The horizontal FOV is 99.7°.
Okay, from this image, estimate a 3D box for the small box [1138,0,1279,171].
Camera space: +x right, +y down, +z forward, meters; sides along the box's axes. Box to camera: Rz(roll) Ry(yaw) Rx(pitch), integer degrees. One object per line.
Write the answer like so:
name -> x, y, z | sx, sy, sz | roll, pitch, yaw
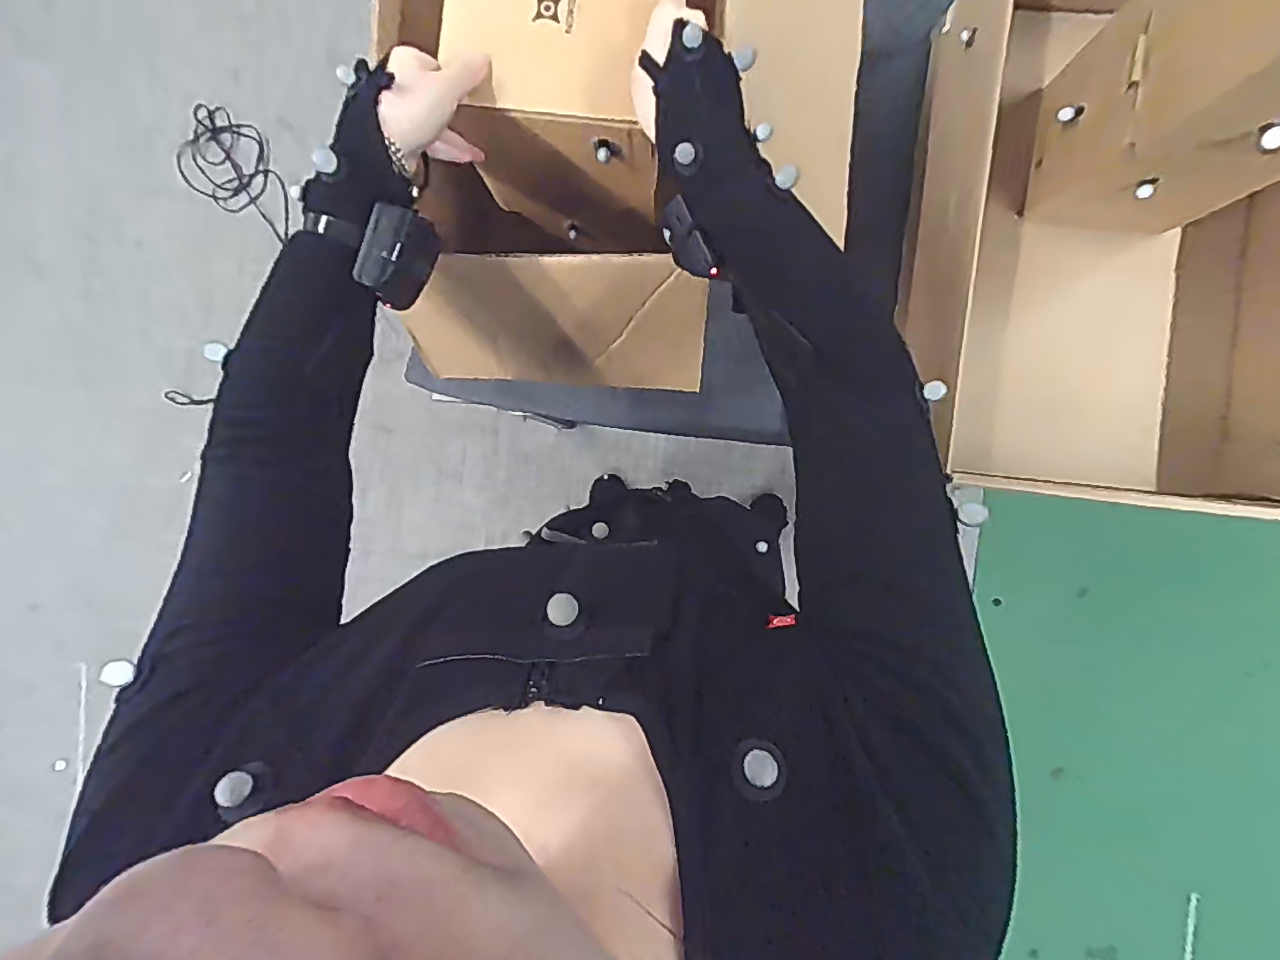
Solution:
small box -> 0.558, -0.386, 0.433 | 0.168, 0.176, 0.179 | 7, 93, 4
